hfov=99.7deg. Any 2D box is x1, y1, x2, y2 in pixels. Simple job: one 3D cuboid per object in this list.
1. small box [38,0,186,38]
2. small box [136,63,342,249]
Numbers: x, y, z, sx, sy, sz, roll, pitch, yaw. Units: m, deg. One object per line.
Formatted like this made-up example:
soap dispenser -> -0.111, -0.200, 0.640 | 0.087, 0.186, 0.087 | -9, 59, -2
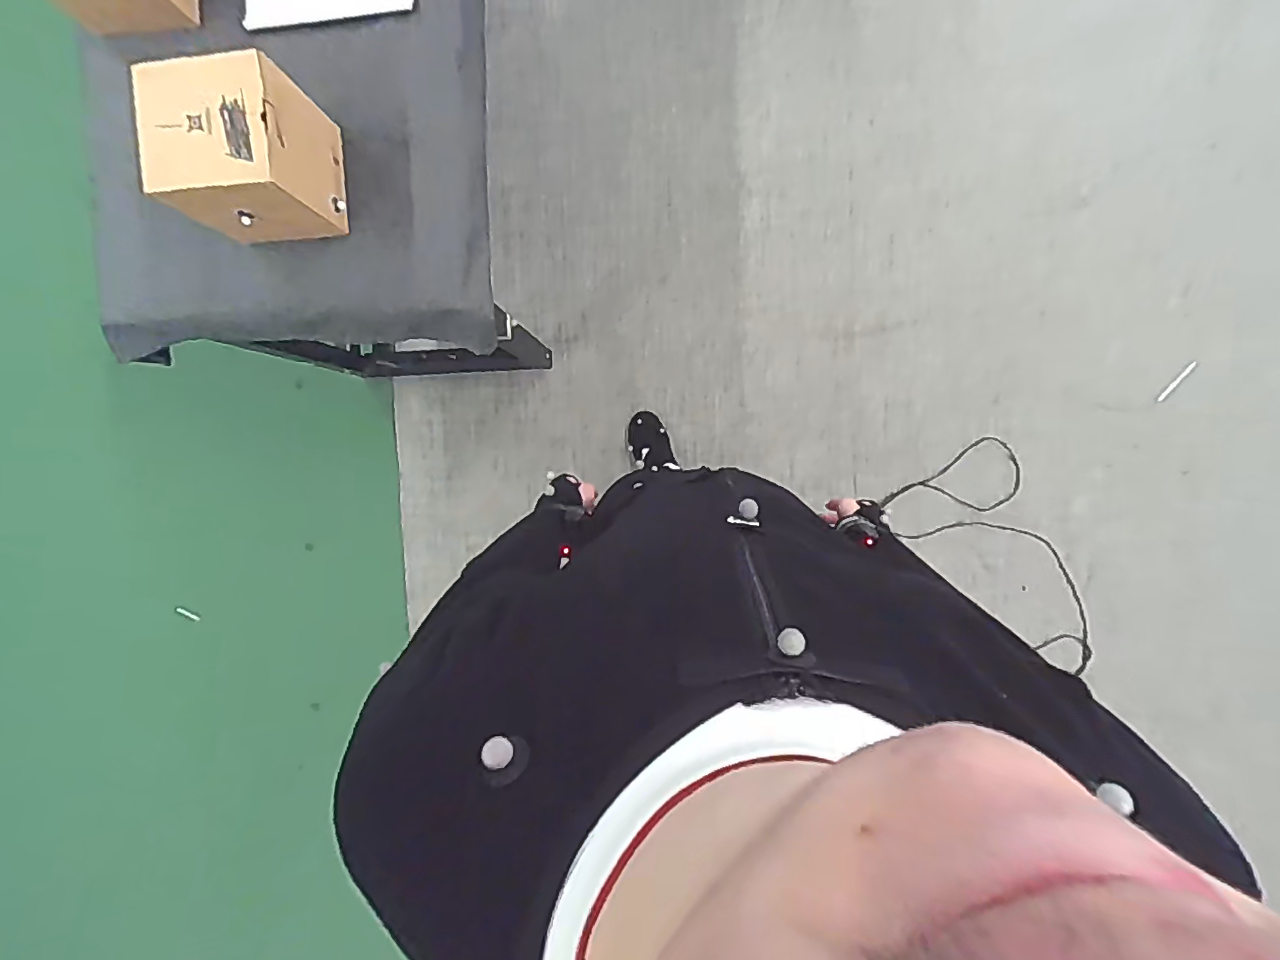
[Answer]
small box -> -0.779, -0.767, 0.755 | 0.179, 0.176, 0.168 | -3, 91, 3
small box -> -0.552, -0.447, 0.772 | 0.179, 0.176, 0.168 | -3, 91, 3
